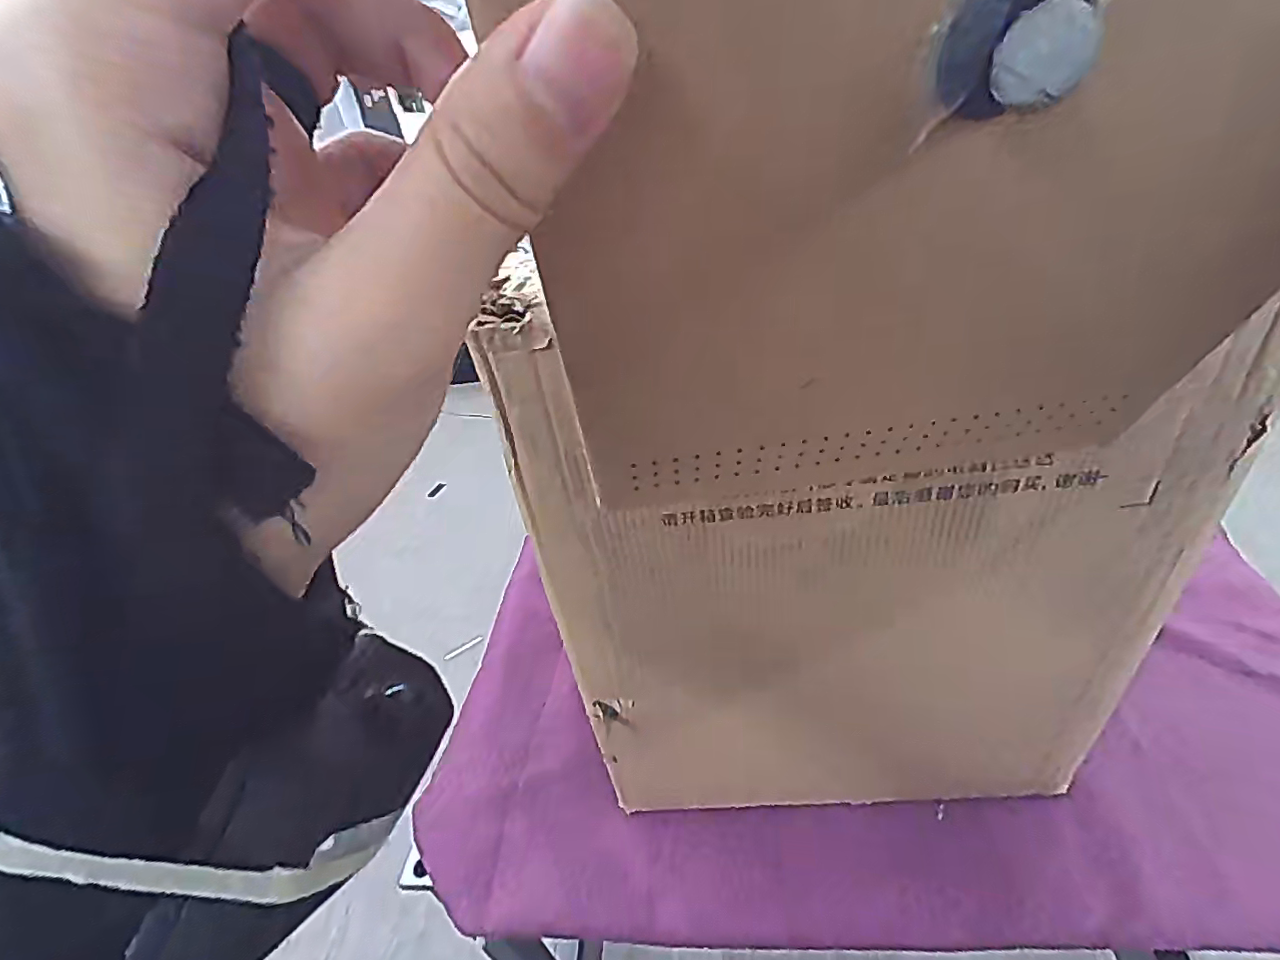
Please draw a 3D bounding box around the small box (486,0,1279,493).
[{"bbox_3d":[0.059,-0.111,0.160,0.179,0.176,0.168,-8,57,0],"label":"small box"}]
